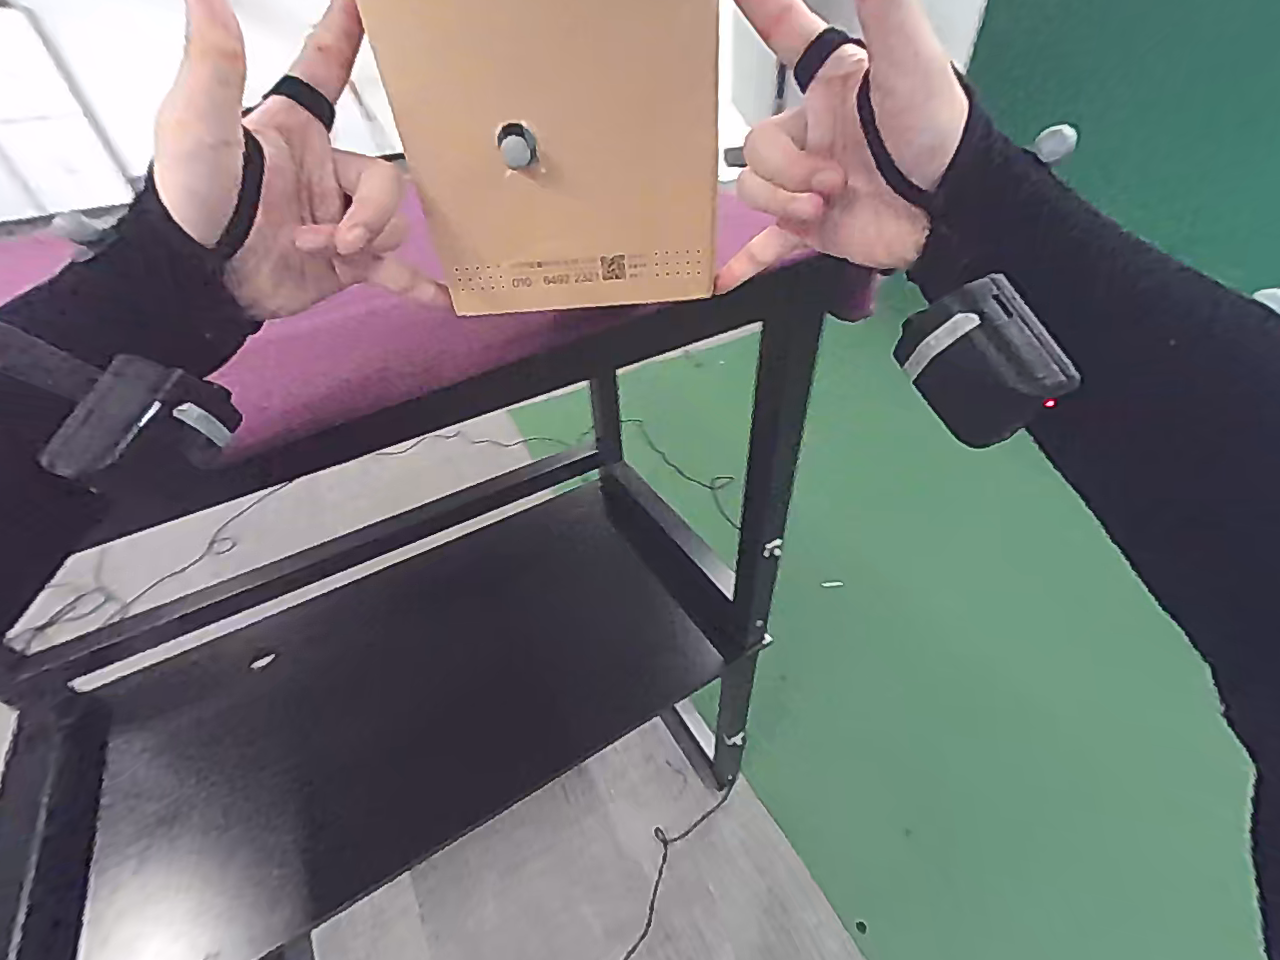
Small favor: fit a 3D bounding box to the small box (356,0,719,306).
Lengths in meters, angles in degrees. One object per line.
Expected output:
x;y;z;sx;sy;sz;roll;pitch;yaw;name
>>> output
-0.039;-0.222;0.346;0.168;0.176;0.179;-4;42;3;small box
